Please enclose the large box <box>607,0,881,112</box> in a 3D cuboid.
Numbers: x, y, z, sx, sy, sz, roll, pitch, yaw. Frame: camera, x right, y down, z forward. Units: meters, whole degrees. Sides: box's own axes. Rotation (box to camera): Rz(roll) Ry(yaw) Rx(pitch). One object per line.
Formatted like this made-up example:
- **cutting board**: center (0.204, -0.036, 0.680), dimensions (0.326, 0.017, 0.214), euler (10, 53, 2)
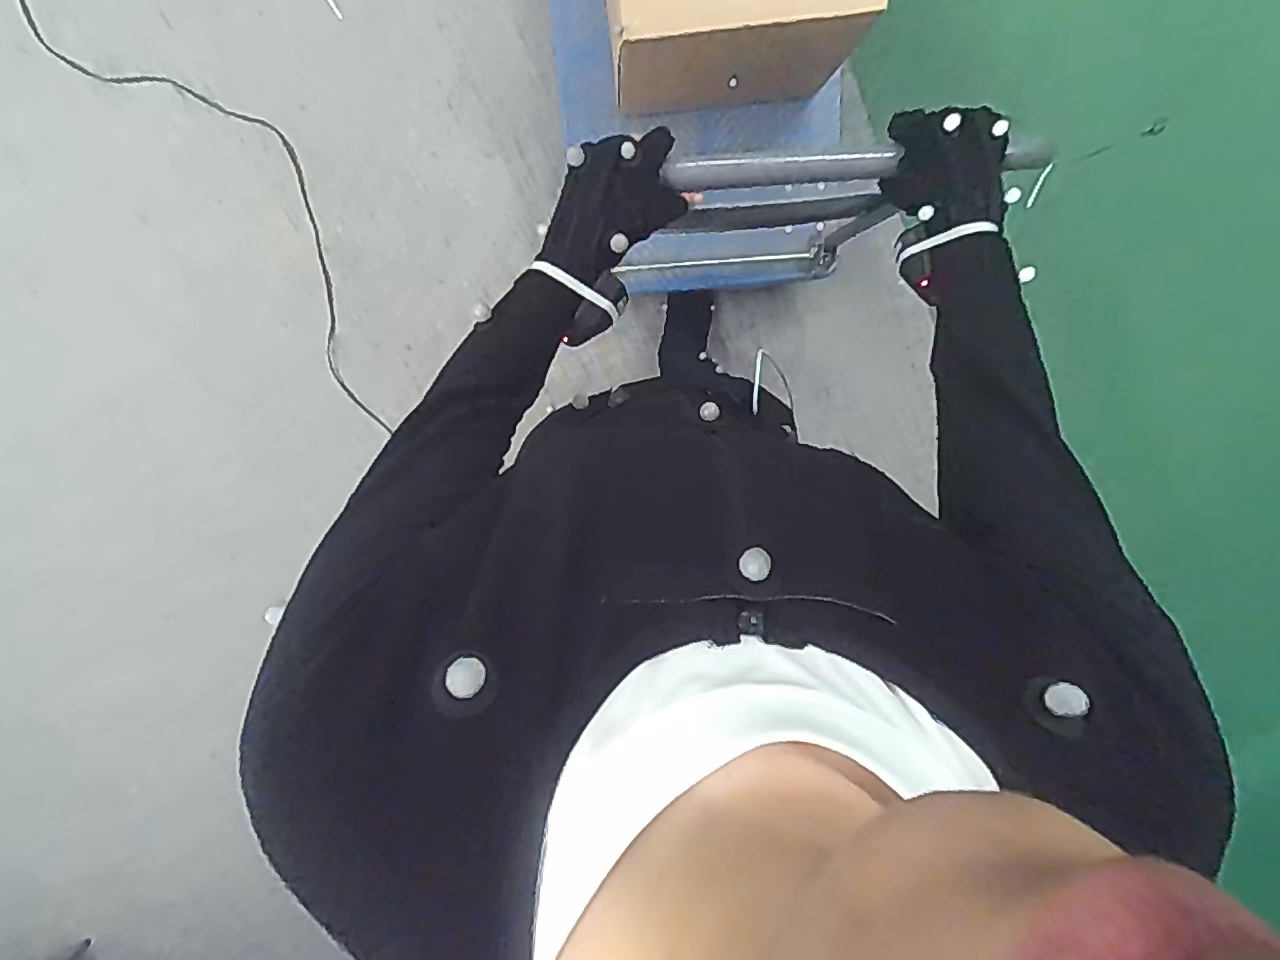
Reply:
- **large box**: center (0.144, -0.873, 0.915), dimensions (0.408, 0.320, 0.320), euler (-7, 105, 0)
